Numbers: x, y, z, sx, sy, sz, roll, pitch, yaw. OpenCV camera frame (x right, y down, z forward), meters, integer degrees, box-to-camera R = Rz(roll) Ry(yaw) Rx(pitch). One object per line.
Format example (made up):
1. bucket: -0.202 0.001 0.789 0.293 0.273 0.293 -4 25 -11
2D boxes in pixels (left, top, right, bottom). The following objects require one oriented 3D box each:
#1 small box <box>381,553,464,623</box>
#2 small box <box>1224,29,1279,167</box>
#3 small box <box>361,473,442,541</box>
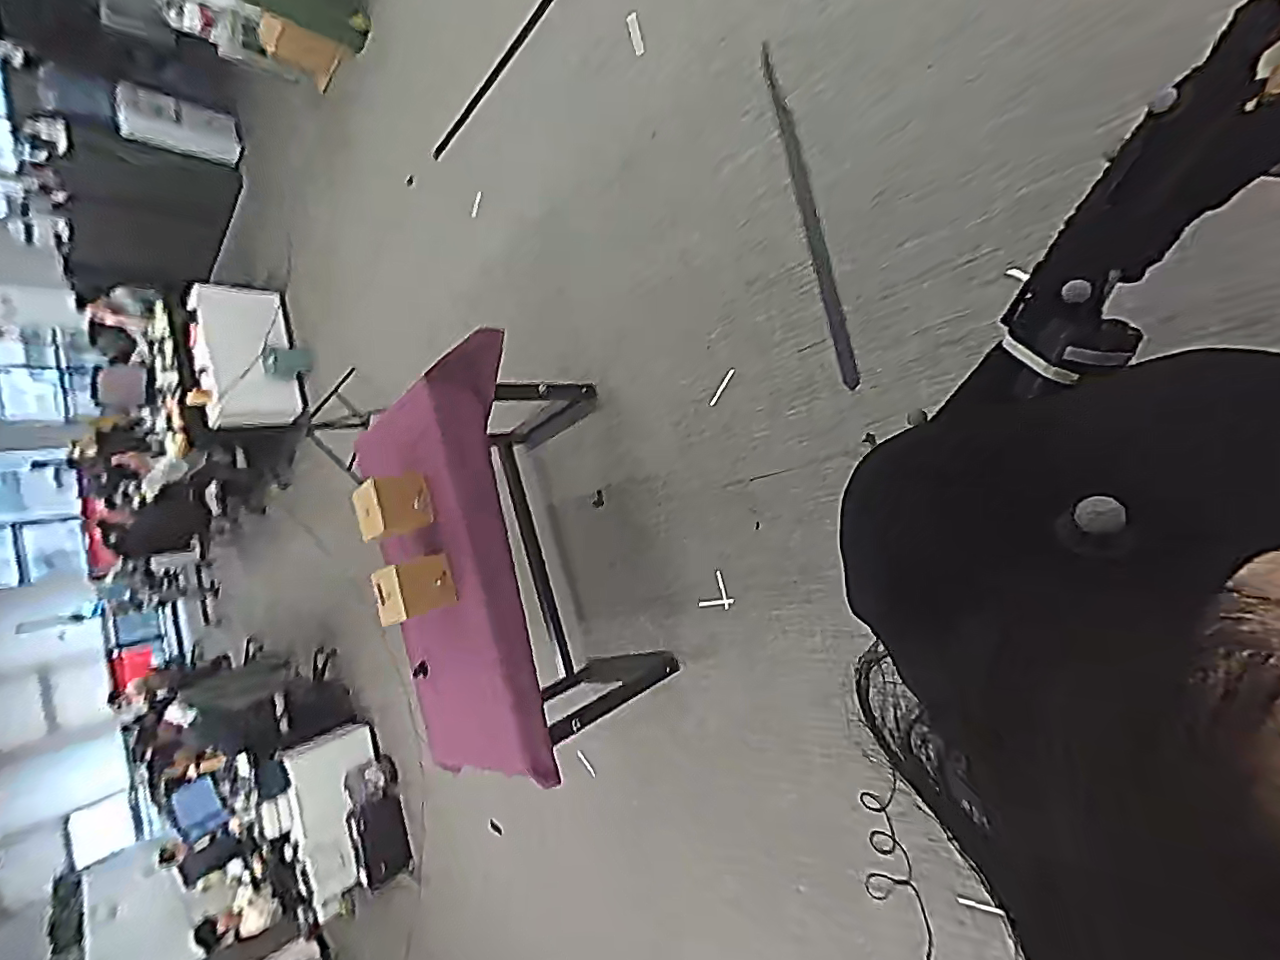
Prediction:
1. small box: -0.674 0.335 1.676 0.179 0.176 0.168 -21 82 42
2. small box: 0.466 -0.267 0.276 0.179 0.176 0.168 29 118 34
3. small box: -0.755 0.084 1.715 0.179 0.176 0.168 -23 82 42
